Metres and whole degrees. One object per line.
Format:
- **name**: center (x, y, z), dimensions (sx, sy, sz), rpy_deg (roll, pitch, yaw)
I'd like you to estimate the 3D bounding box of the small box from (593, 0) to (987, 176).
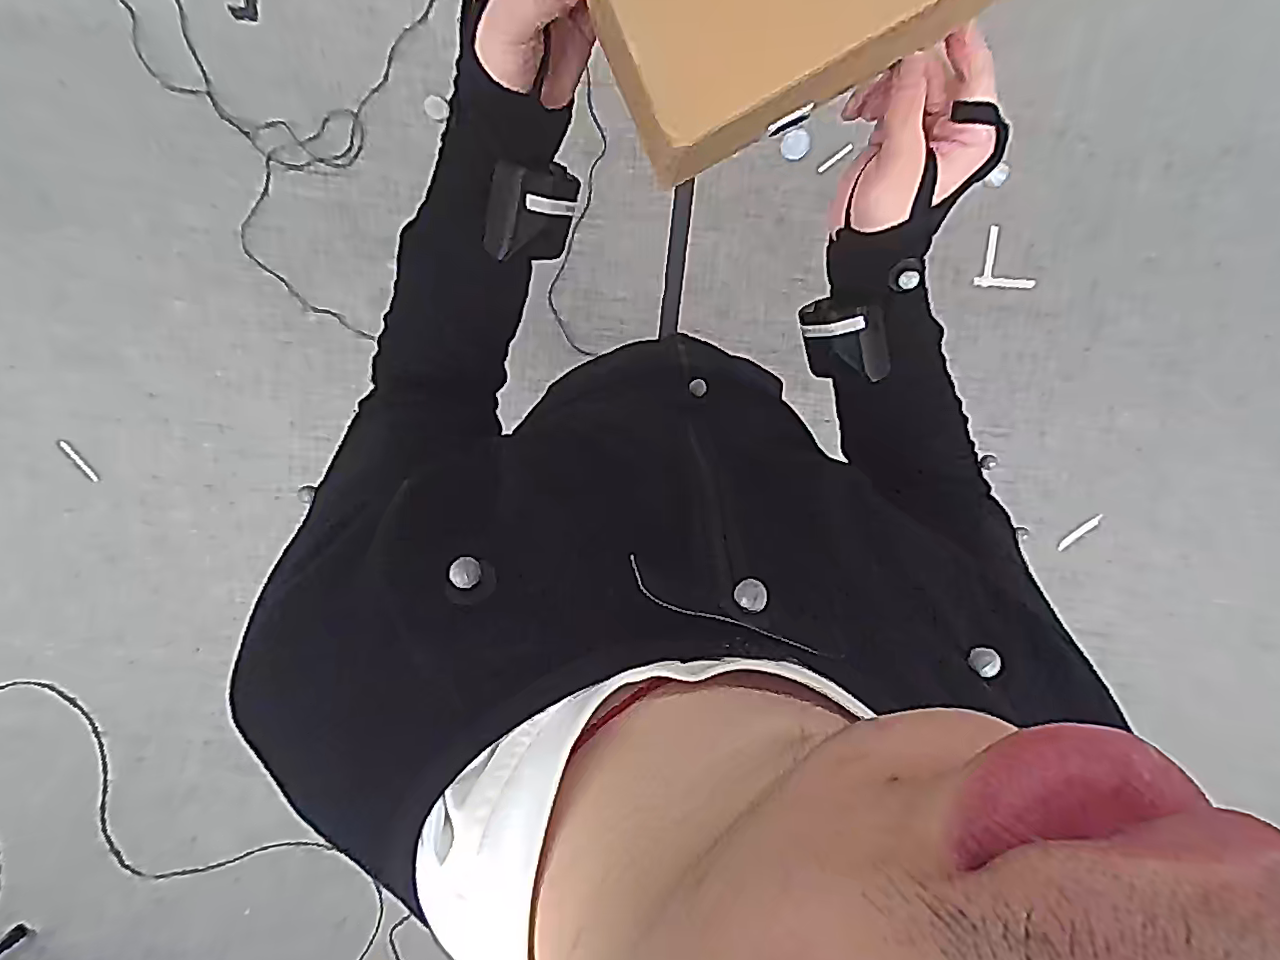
- **small box**: center (0.051, -0.250, 0.211), dimensions (0.168, 0.176, 0.179), rpy_deg (-25, 111, 13)
